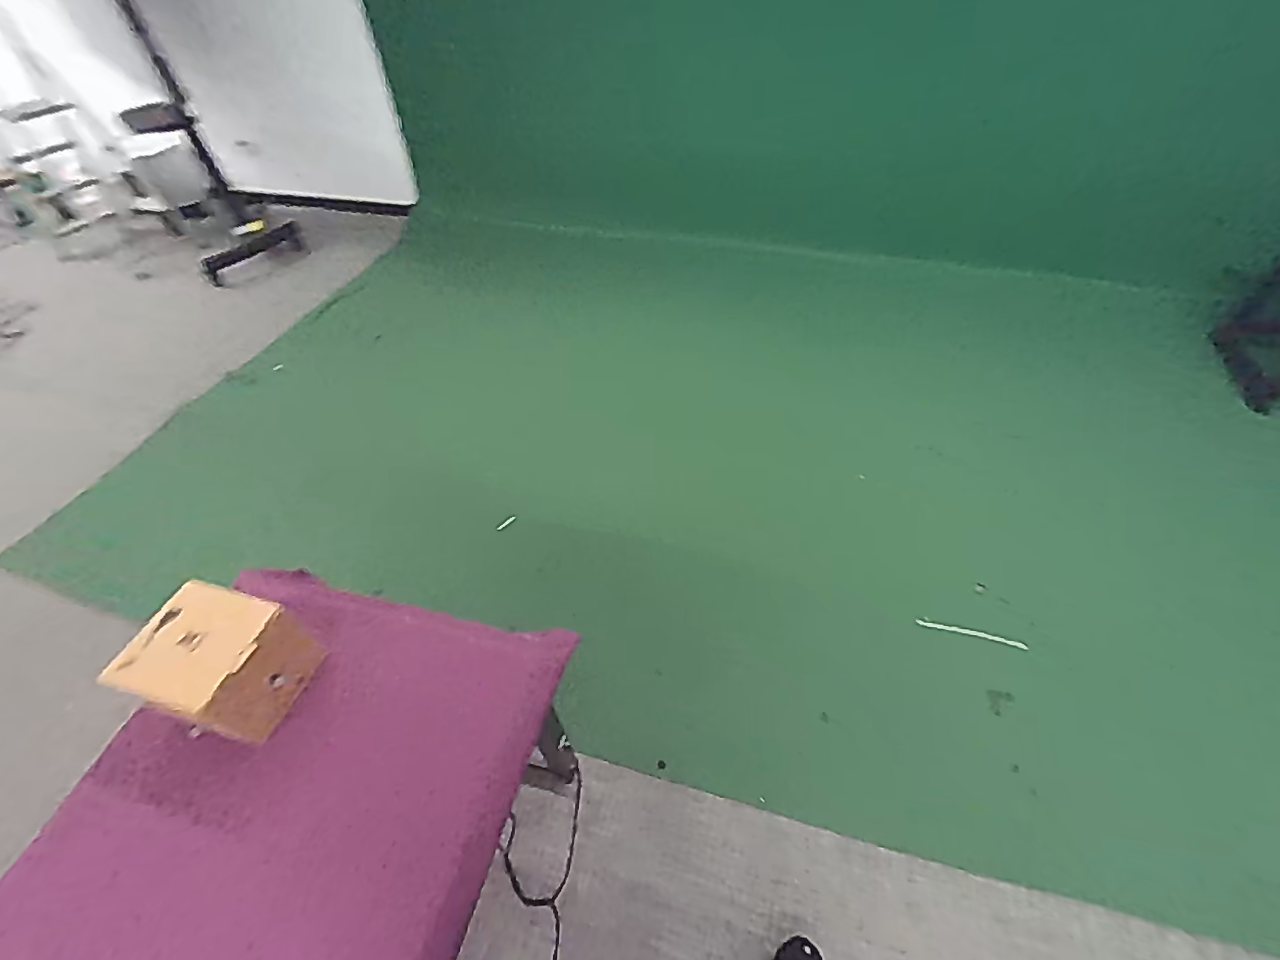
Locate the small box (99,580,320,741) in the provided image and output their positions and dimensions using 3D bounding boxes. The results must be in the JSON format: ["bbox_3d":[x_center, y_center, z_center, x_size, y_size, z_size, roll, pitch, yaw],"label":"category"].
[{"bbox_3d":[-0.650,0.287,0.847,0.179,0.176,0.168,13,50,10],"label":"small box"}]
